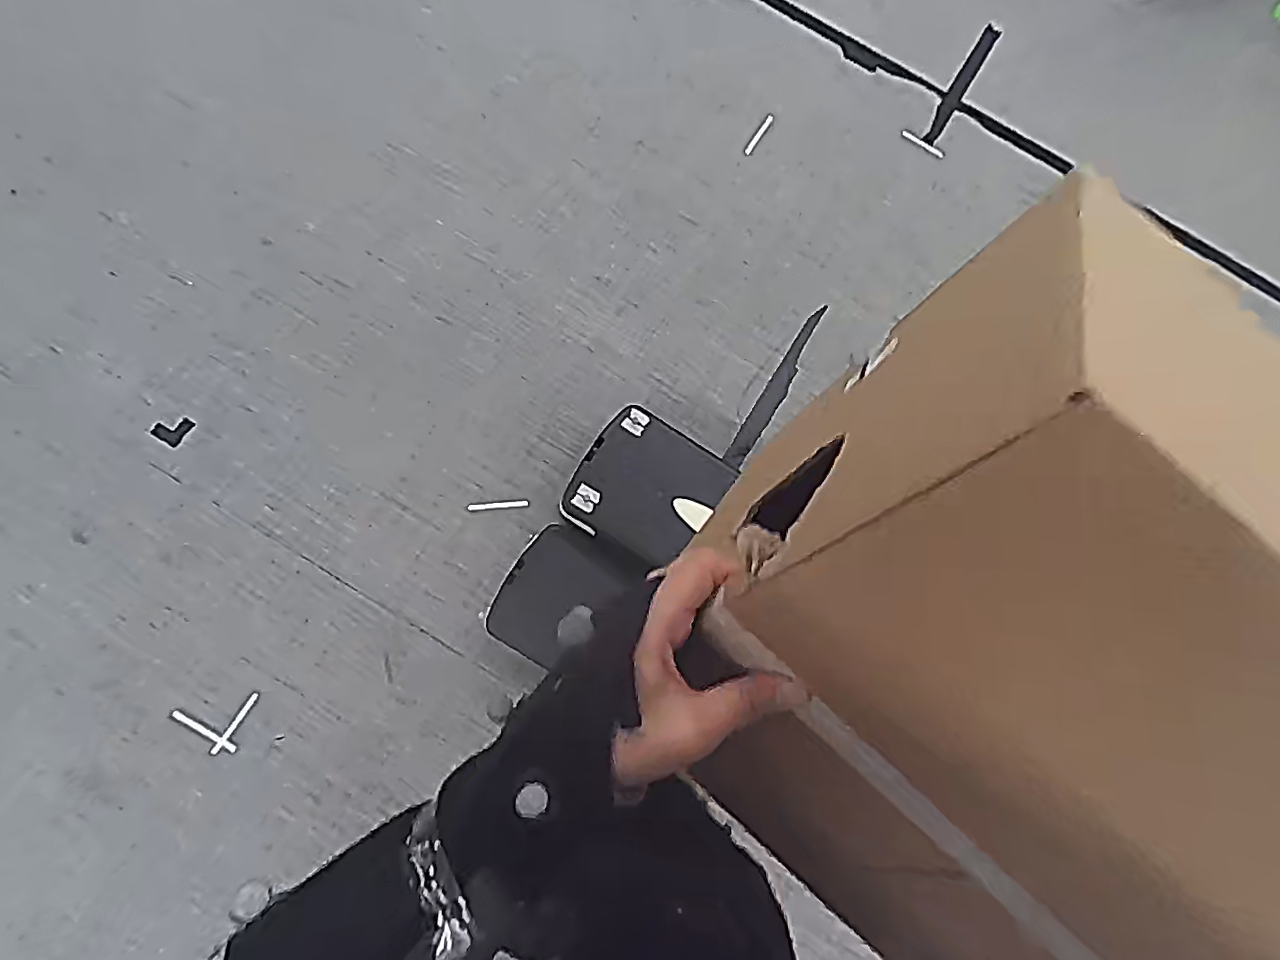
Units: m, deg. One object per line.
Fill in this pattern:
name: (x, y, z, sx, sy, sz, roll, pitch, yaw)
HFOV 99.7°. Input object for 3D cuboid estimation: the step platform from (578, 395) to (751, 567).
step platform: (0.197, 0.119, 1.199, 0.684, 0.204, 0.286, 38, 78, 1)
